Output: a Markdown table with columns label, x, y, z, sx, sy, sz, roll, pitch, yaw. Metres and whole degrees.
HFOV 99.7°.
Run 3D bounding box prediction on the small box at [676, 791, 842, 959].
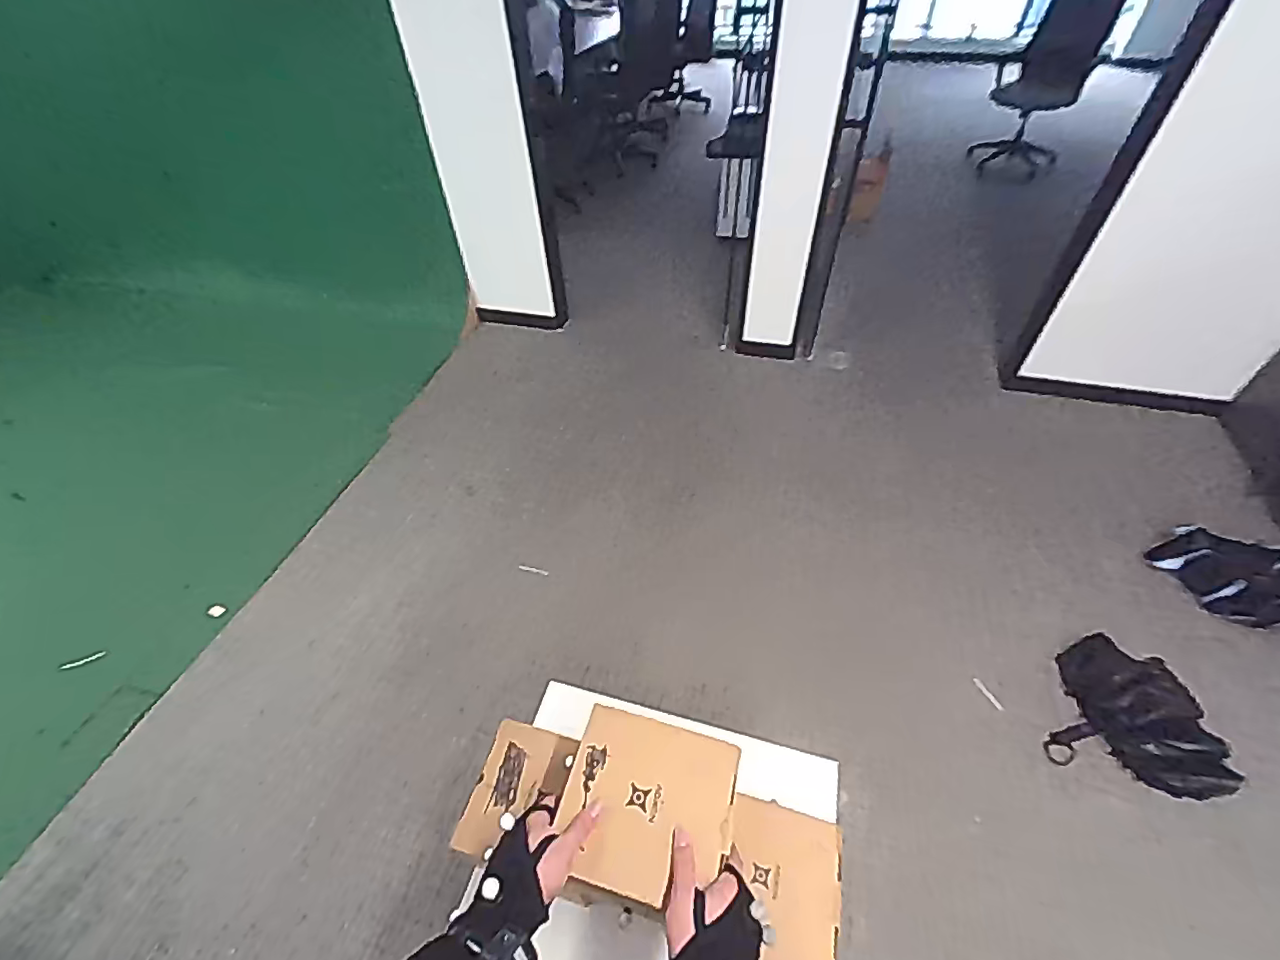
| label | x | y | z | sx | sy | sz | roll | pitch | yaw |
| --- | --- | --- | --- | --- | --- | --- | --- | --- | --- |
| small box | 0.151 | 0.529 | 0.709 | 0.179 | 0.176 | 0.168 | 11 | 48 | 13 |

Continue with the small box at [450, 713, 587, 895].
| label | x | y | z | sx | sy | sz | roll | pitch | yaw |
| --- | --- | --- | --- | --- | --- | --- | --- | --- | --- |
| small box | -0.135 | 0.462 | 0.767 | 0.179 | 0.176 | 0.168 | 13 | 50 | 9 |

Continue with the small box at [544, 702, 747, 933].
| label | x | y | z | sx | sy | sz | roll | pitch | yaw |
| --- | --- | --- | --- | --- | --- | --- | --- | --- | --- |
| small box | 0.010 | 0.386 | 0.620 | 0.179 | 0.176 | 0.168 | 13 | 50 | 10 |
